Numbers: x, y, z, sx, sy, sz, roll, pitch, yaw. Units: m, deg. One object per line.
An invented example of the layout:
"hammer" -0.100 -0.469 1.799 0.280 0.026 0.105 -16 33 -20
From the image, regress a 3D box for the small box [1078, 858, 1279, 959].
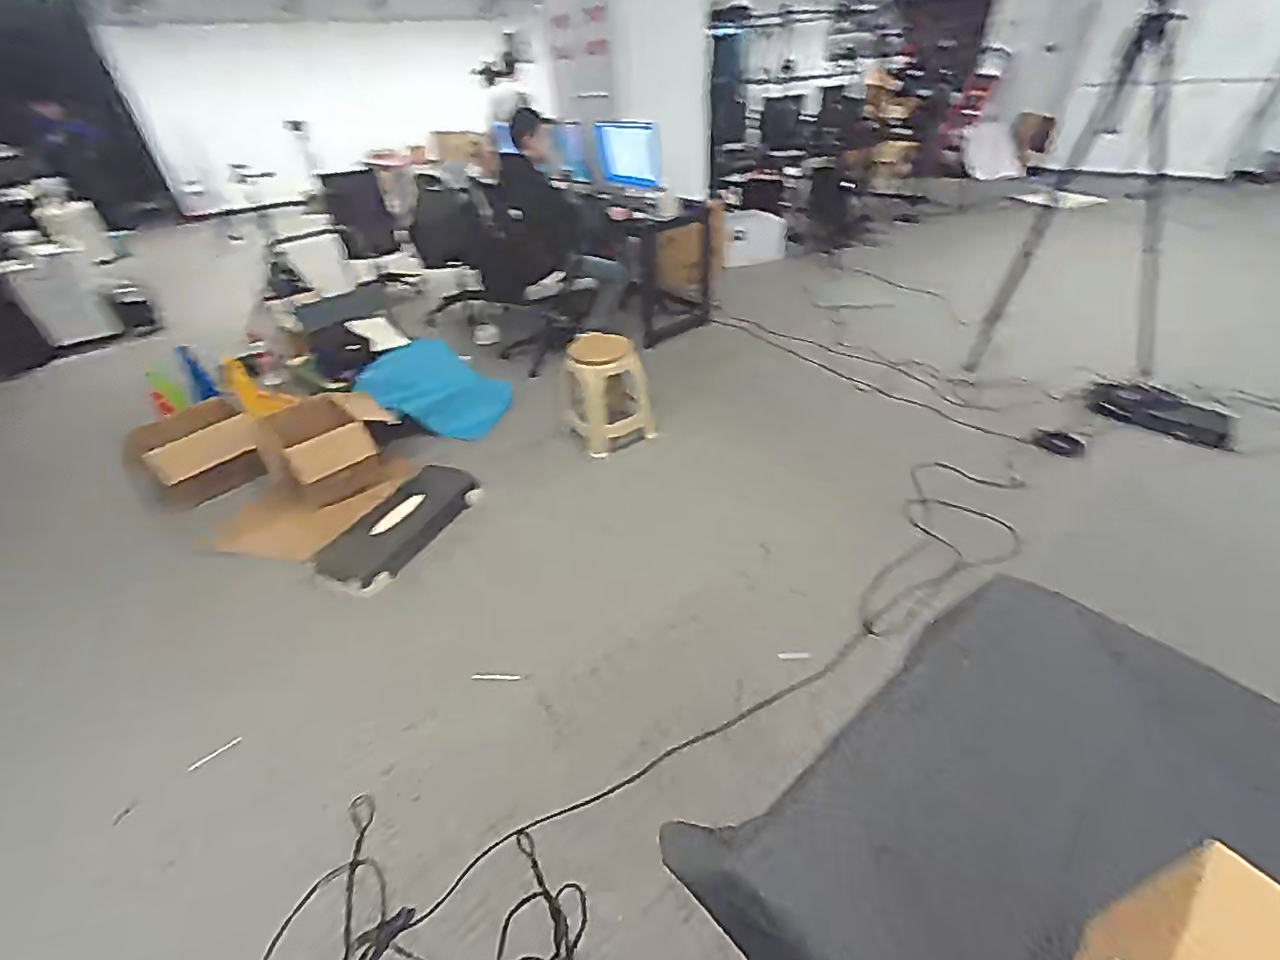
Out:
"small box" 0.412 0.412 0.360 0.179 0.176 0.168 -20 44 -33
